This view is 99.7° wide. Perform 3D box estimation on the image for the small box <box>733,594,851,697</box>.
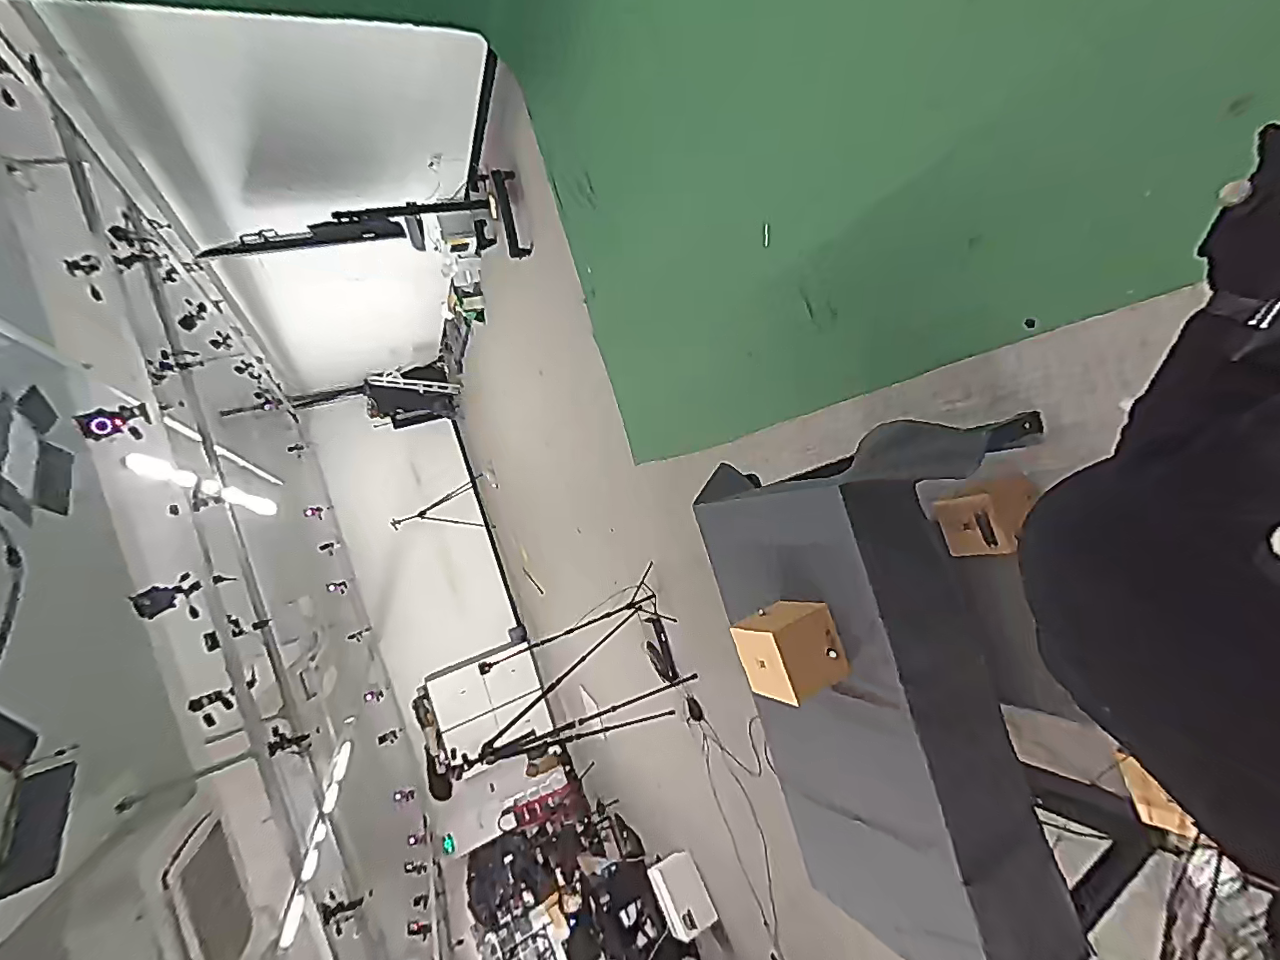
[{"bbox_3d":[0.352,0.376,1.263,0.179,0.176,0.168,-23,87,66],"label":"small box"}]
